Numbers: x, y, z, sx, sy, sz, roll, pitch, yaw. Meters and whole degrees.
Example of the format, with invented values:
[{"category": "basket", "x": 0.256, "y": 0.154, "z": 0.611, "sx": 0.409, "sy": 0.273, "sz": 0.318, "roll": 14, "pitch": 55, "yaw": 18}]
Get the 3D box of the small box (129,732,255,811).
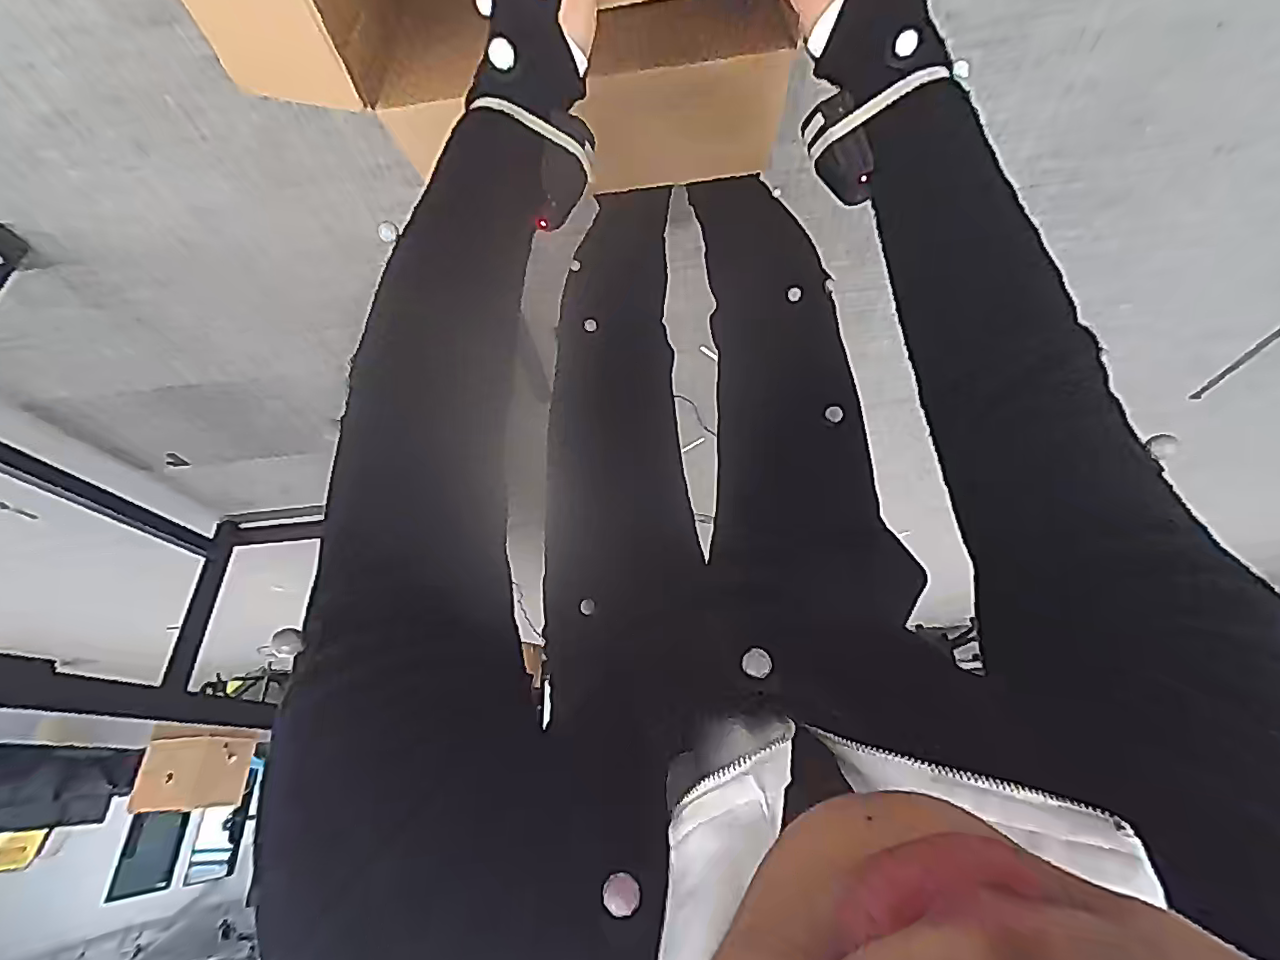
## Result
[{"category": "small box", "x": -1.177, "y": 0.774, "z": 1.438, "sx": 0.179, "sy": 0.176, "sz": 0.168, "roll": -7, "pitch": 152, "yaw": 5}]
